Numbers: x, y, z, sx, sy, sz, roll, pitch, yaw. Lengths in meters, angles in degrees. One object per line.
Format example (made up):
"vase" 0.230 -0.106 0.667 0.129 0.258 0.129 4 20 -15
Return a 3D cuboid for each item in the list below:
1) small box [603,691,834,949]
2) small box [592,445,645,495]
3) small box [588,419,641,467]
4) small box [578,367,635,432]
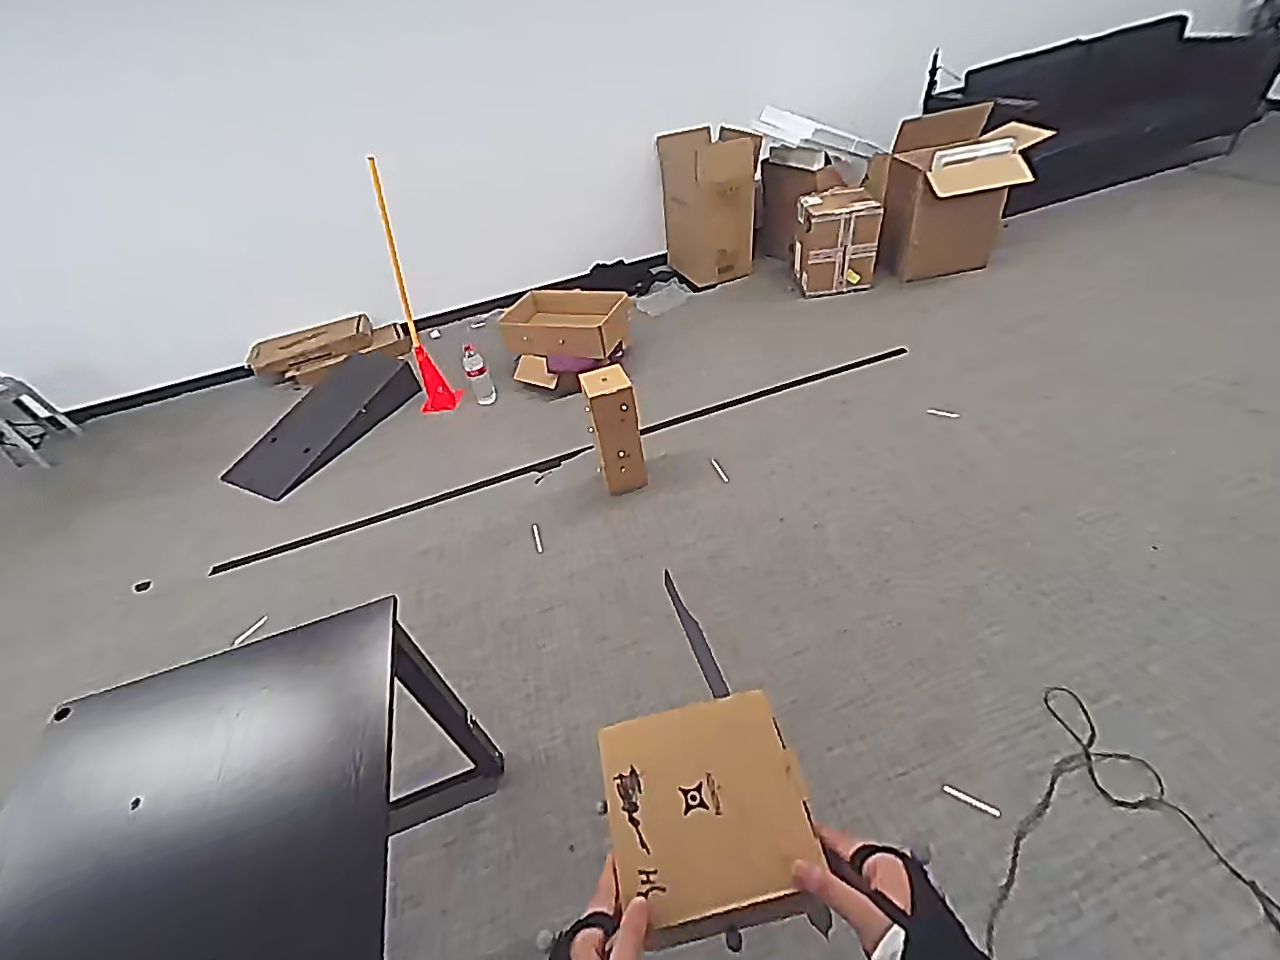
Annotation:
"small box" 0.067 0.342 0.545 0.179 0.176 0.168 -11 43 -4
"small box" -0.087 -0.060 2.271 0.179 0.176 0.168 -17 43 -8
"small box" -0.104 -0.179 2.158 0.168 0.176 0.179 -17 43 -8
"small box" -0.124 -0.300 2.052 0.168 0.176 0.179 -17 41 -9
